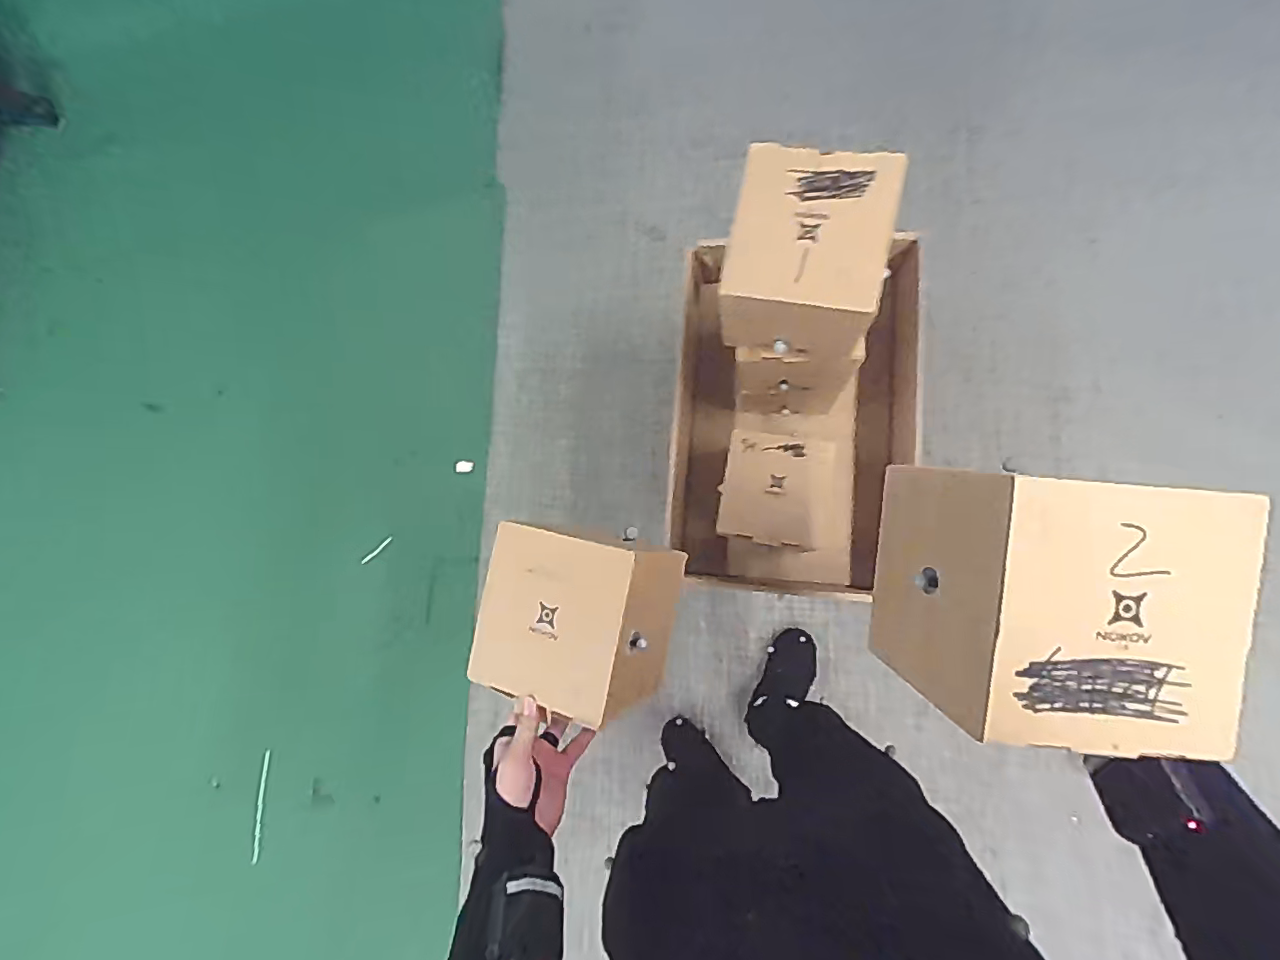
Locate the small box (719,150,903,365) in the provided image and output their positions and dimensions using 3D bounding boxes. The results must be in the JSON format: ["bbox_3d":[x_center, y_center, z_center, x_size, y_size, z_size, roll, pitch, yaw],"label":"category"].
[{"bbox_3d":[0.196,-0.259,0.659,0.168,0.176,0.179,12,87,12],"label":"small box"}]

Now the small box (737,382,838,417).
[{"bbox_3d":[0.264,-0.220,0.976,0.168,0.176,0.179,3,85,12],"label":"small box"}]

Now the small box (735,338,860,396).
[{"bbox_3d":[0.232,-0.236,0.818,0.168,0.176,0.179,2,85,11],"label":"small box"}]
